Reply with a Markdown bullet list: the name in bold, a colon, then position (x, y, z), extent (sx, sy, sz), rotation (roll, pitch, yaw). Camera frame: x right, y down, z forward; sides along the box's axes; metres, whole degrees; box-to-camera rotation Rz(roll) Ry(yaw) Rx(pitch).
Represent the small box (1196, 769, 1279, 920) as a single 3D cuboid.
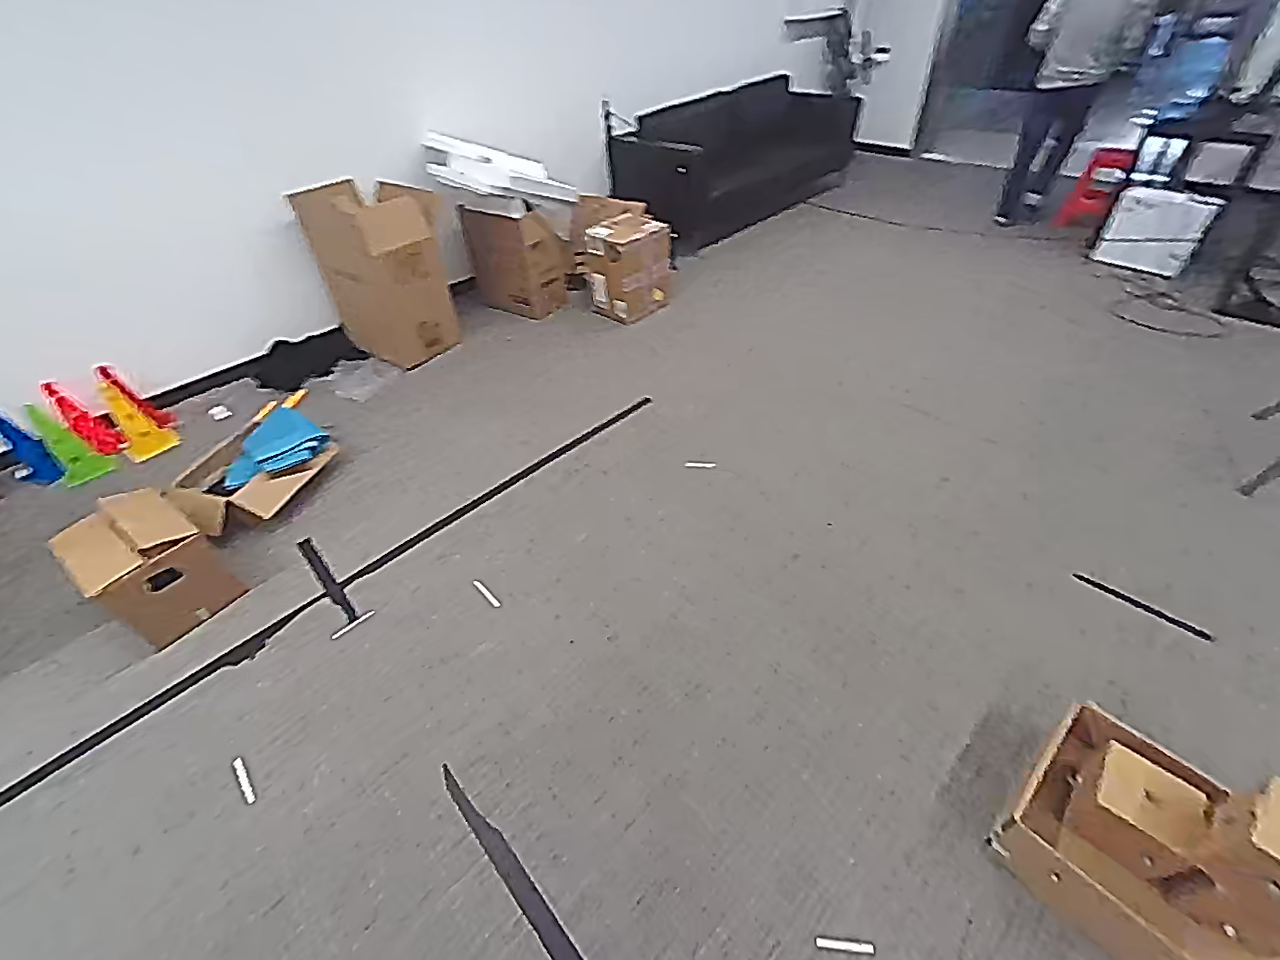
- **small box**: position (1.192, 0.684, 0.990), extent (0.168, 0.176, 0.179), rotation (-32, 48, -24)
